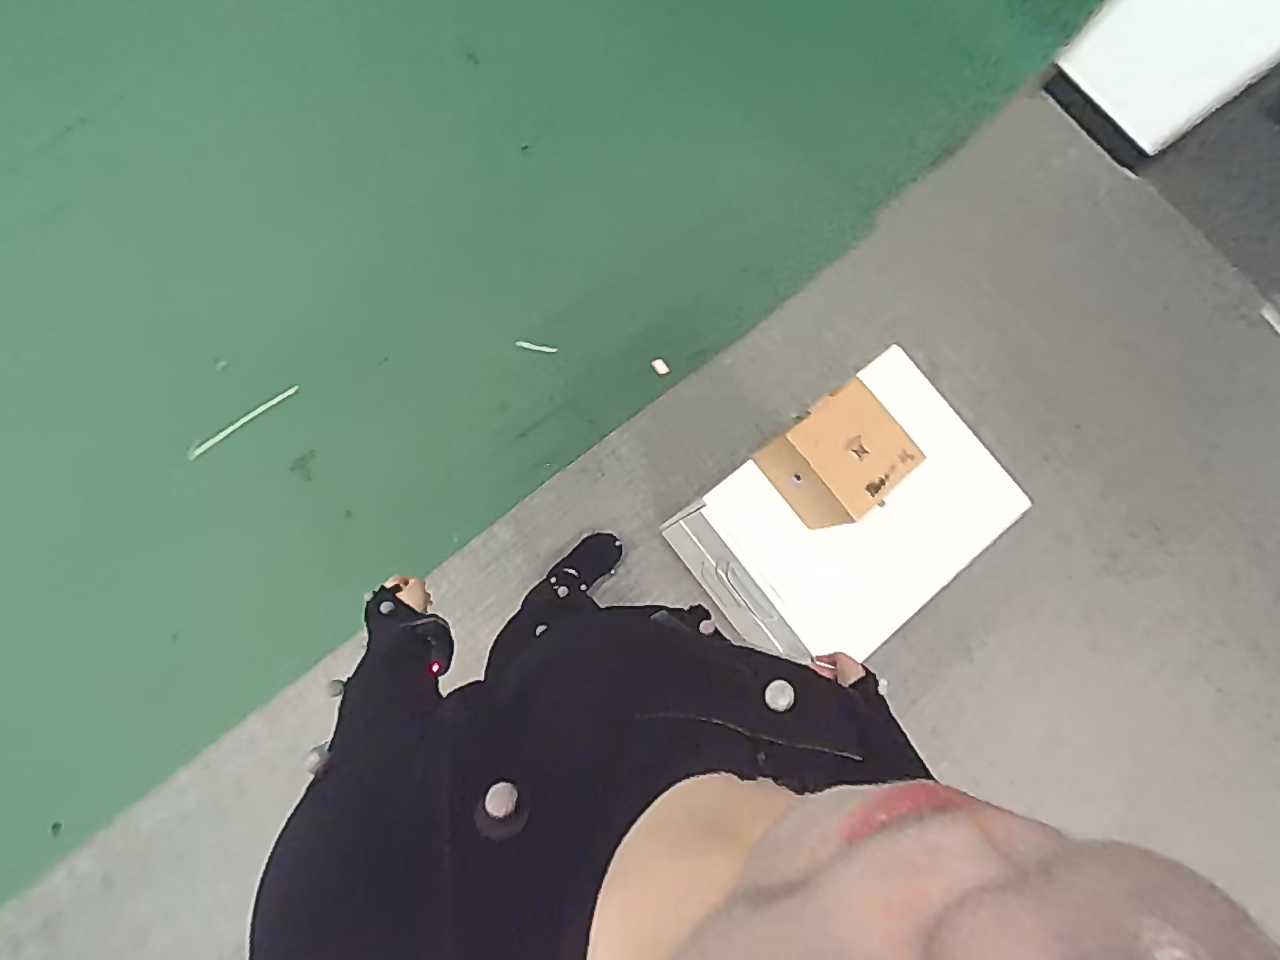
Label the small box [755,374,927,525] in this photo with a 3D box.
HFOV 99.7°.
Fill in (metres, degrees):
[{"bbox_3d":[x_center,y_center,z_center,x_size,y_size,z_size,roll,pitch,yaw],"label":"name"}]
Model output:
[{"bbox_3d":[0.324,-0.041,0.912,0.168,0.176,0.179,-37,86,-12],"label":"small box"}]
